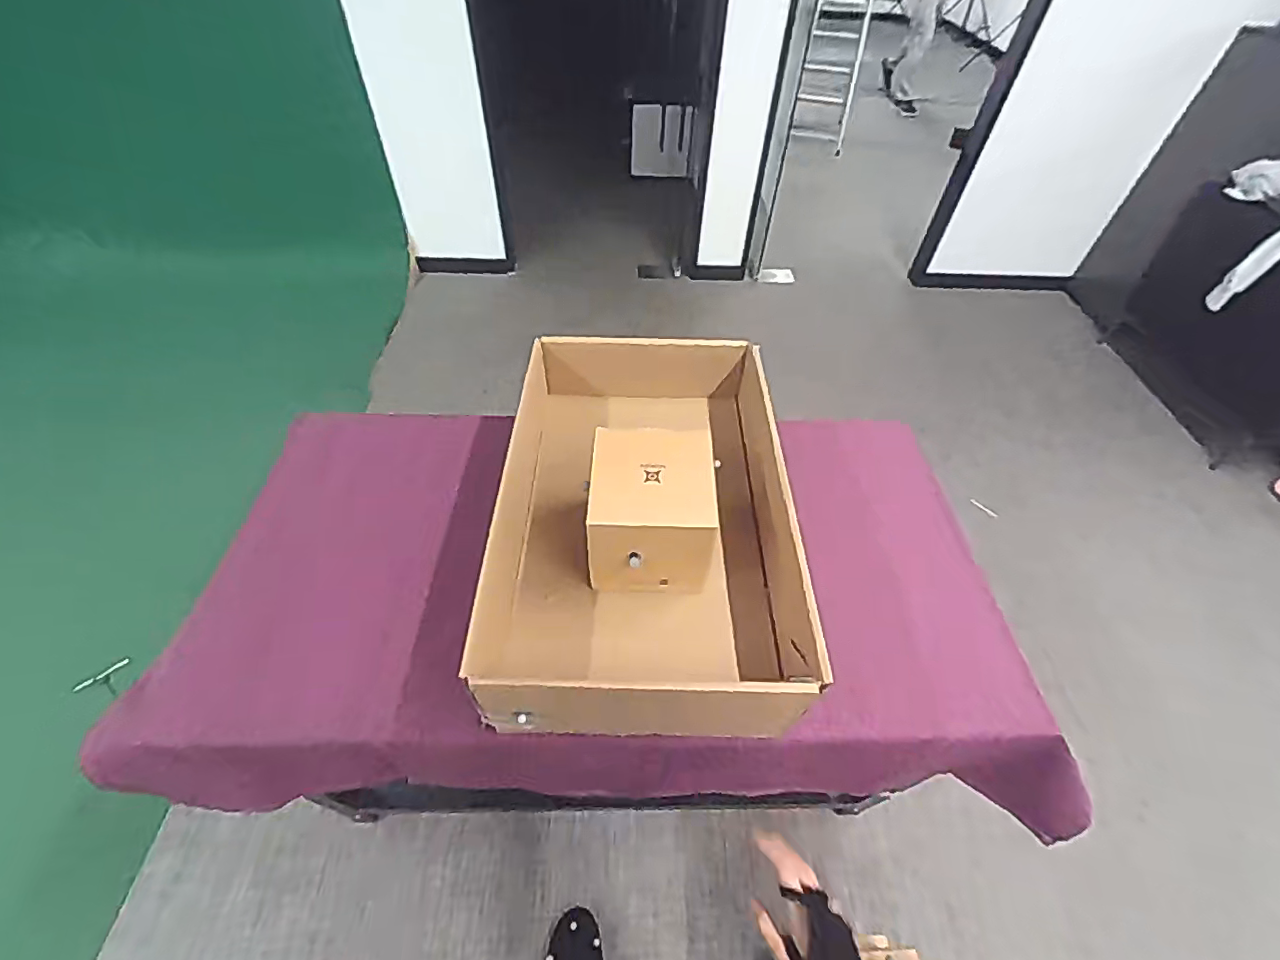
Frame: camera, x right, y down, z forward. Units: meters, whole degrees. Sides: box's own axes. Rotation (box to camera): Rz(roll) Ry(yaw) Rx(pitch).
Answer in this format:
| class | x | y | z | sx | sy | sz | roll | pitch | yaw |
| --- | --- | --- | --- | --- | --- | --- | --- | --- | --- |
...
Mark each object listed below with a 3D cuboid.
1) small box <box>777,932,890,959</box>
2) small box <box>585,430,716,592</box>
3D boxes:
| class | x | y | z | sx | sy | sz | roll | pitch | yaw |
| --- | --- | --- | --- | --- | --- | --- | --- | --- | --- |
| small box | 0.377 | 0.974 | 1.032 | 0.179 | 0.176 | 0.168 | -1 | 50 | -2 |
| small box | 0.016 | 0.047 | 0.780 | 0.168 | 0.176 | 0.179 | 1 | 49 | 0 |
